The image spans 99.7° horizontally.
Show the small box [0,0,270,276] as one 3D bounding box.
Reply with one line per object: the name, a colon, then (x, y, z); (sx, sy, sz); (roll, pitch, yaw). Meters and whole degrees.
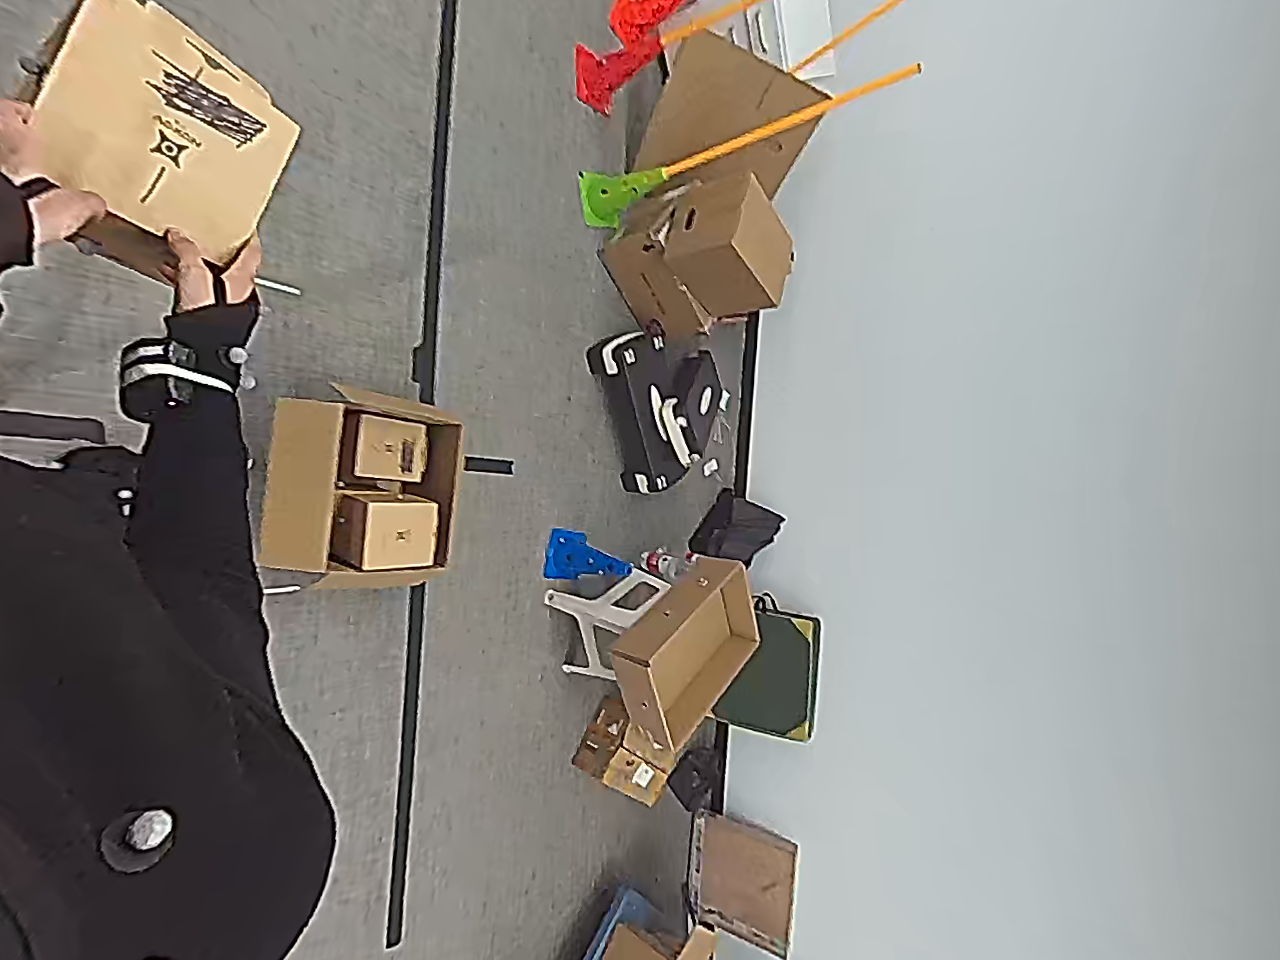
small box: (-0.528, -0.334, 0.553); (0.168, 0.176, 0.179); (25, 75, -56)
